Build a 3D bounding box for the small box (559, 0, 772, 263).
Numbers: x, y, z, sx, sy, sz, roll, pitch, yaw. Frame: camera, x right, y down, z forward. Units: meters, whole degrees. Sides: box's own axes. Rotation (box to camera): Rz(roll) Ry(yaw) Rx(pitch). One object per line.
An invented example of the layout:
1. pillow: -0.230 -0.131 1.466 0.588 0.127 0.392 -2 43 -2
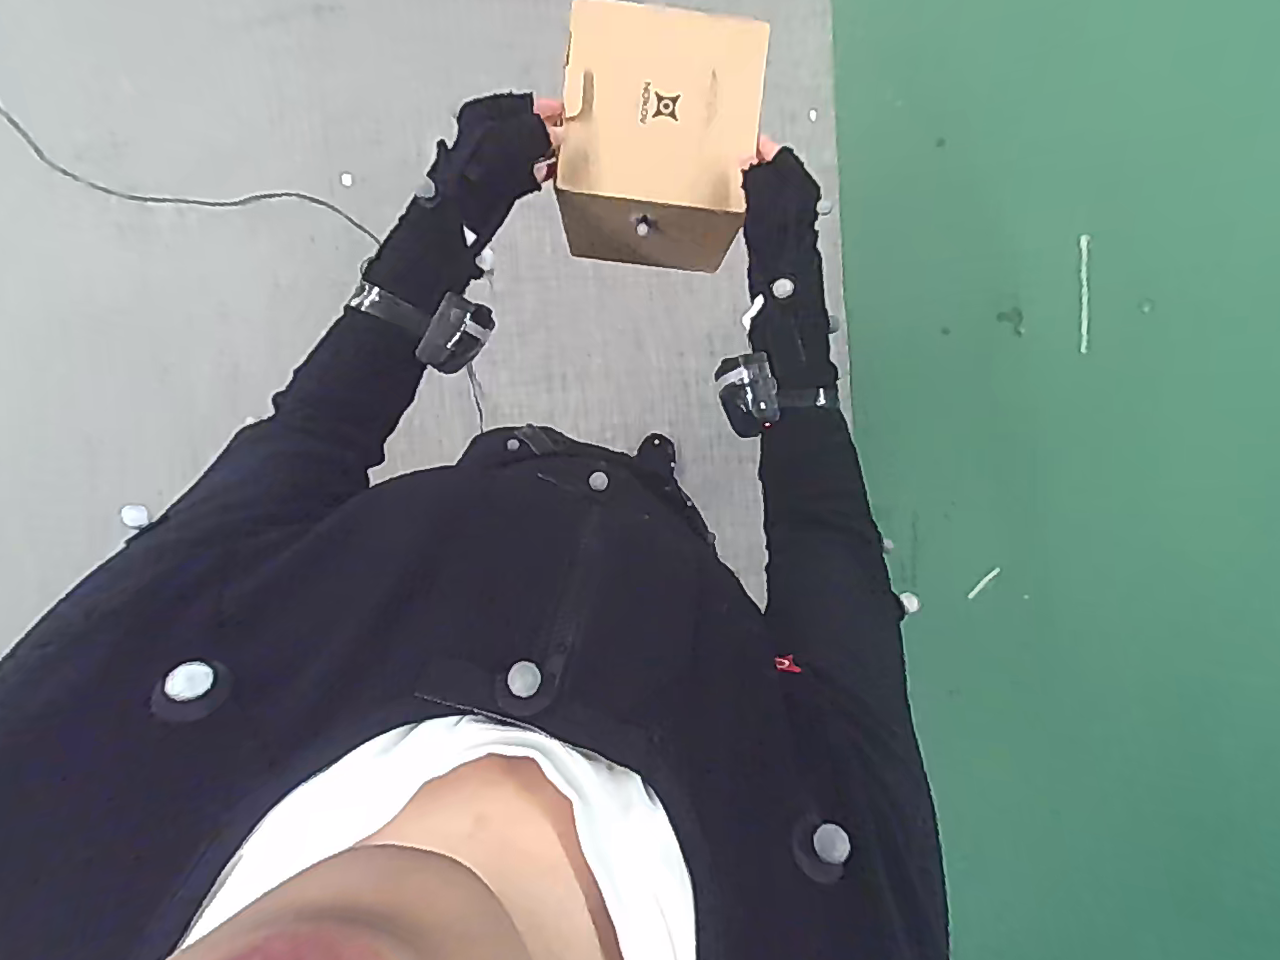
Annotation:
1. small box: 0.019 -0.336 0.552 0.179 0.176 0.168 5 94 -4
